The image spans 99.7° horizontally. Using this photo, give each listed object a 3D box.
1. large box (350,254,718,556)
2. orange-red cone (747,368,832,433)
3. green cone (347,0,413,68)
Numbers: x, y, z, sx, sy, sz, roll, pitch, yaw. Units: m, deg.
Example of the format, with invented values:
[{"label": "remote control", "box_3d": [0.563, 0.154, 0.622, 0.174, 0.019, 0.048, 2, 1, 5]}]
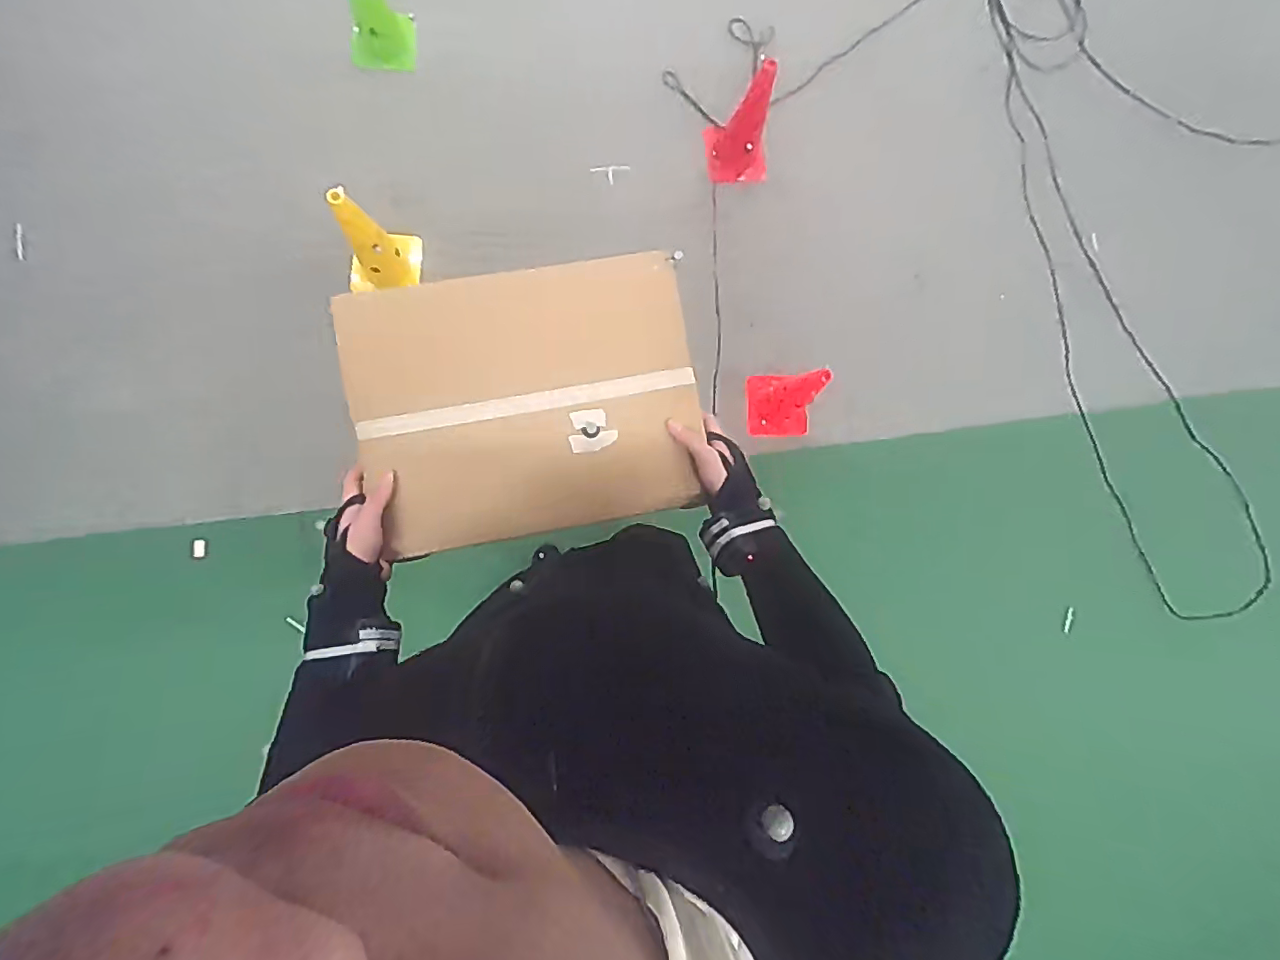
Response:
[{"label": "large box", "box_3d": [-0.138, -0.097, 0.804, 0.408, 0.320, 0.320, -10, 93, -6]}, {"label": "orange-red cone", "box_3d": [0.465, -0.264, 1.582, 0.199, 0.360, 0.198, 0, 86, -8]}, {"label": "green cone", "box_3d": [-0.810, -1.422, 1.549, 0.200, 0.368, 0.202, -2, 87, -6]}]
